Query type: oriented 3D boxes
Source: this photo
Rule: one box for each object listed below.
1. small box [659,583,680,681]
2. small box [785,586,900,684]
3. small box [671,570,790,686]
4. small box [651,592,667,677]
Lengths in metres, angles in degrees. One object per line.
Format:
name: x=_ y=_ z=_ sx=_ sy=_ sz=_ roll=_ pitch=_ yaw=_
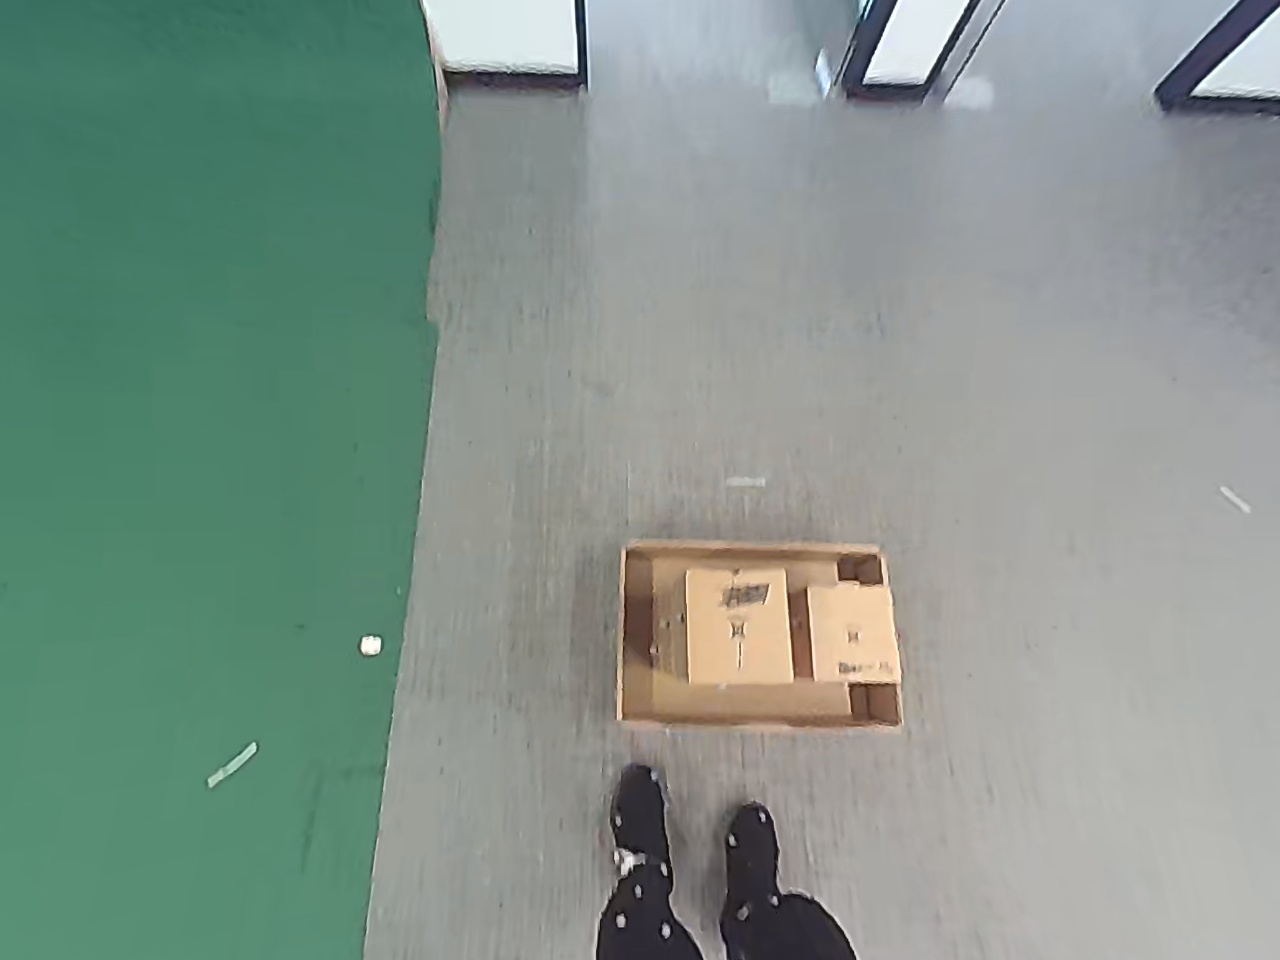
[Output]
small box: x=0.129 y=0.303 z=1.077 sx=0.168 sy=0.176 sz=0.179 roll=1 pitch=72 yaw=-4
small box: x=0.393 y=0.314 z=1.088 sx=0.168 sy=0.176 sz=0.179 roll=1 pitch=72 yaw=-1
small box: x=0.144 y=0.253 z=0.921 sx=0.168 sy=0.176 sz=0.179 roll=1 pitch=73 yaw=-3
small box: x=0.115 y=0.352 z=1.230 sx=0.168 sy=0.176 sz=0.179 roll=2 pitch=72 yaw=-4
